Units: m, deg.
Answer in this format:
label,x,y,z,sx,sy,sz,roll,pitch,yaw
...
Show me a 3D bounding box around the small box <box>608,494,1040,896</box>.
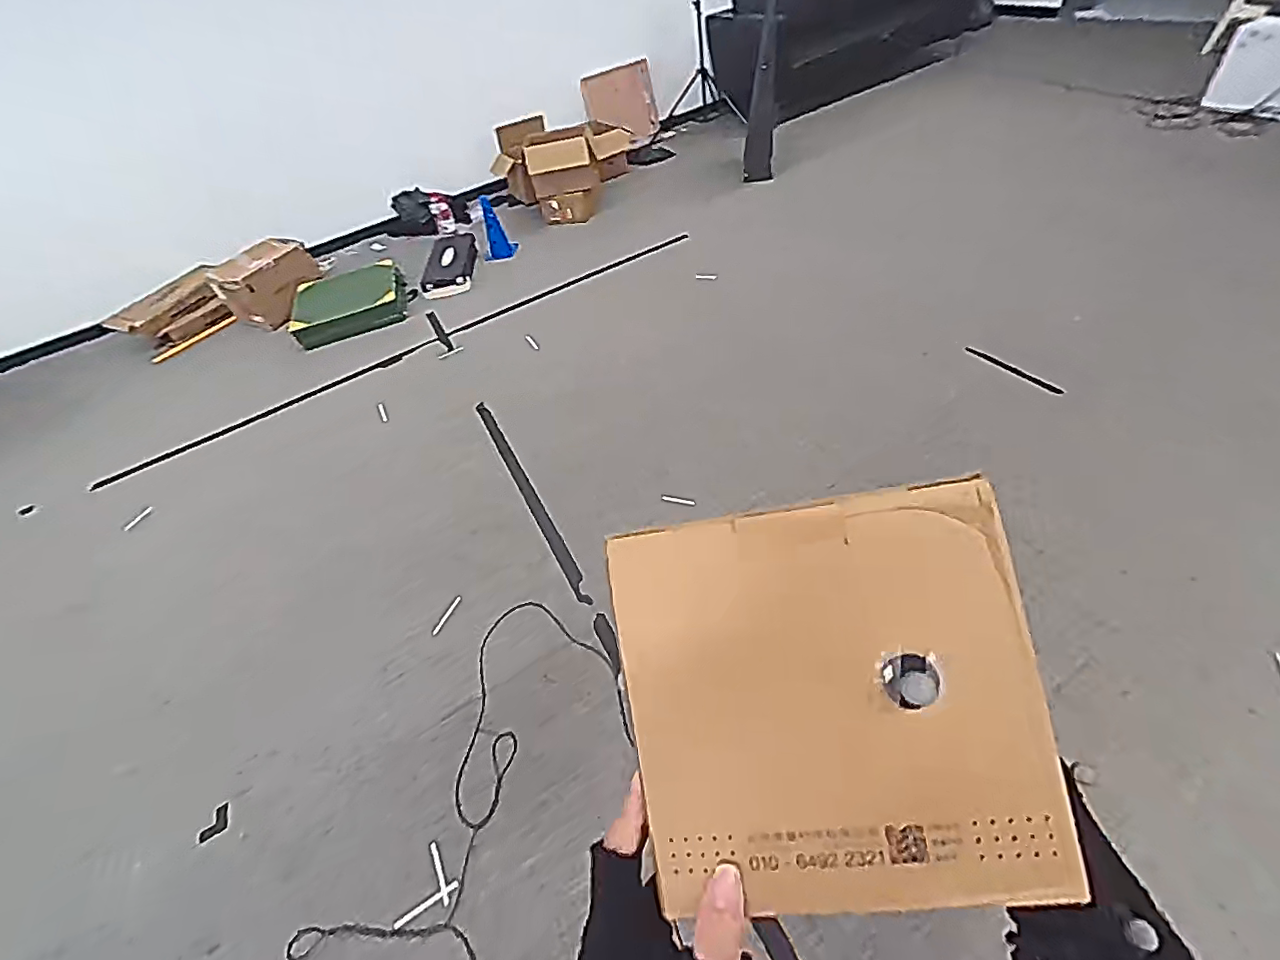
label,x,y,z,sx,sy,sz,roll,pitch,yaw
small box,0.095,0.108,0.321,0.168,0.179,0.176,-11,84,12
